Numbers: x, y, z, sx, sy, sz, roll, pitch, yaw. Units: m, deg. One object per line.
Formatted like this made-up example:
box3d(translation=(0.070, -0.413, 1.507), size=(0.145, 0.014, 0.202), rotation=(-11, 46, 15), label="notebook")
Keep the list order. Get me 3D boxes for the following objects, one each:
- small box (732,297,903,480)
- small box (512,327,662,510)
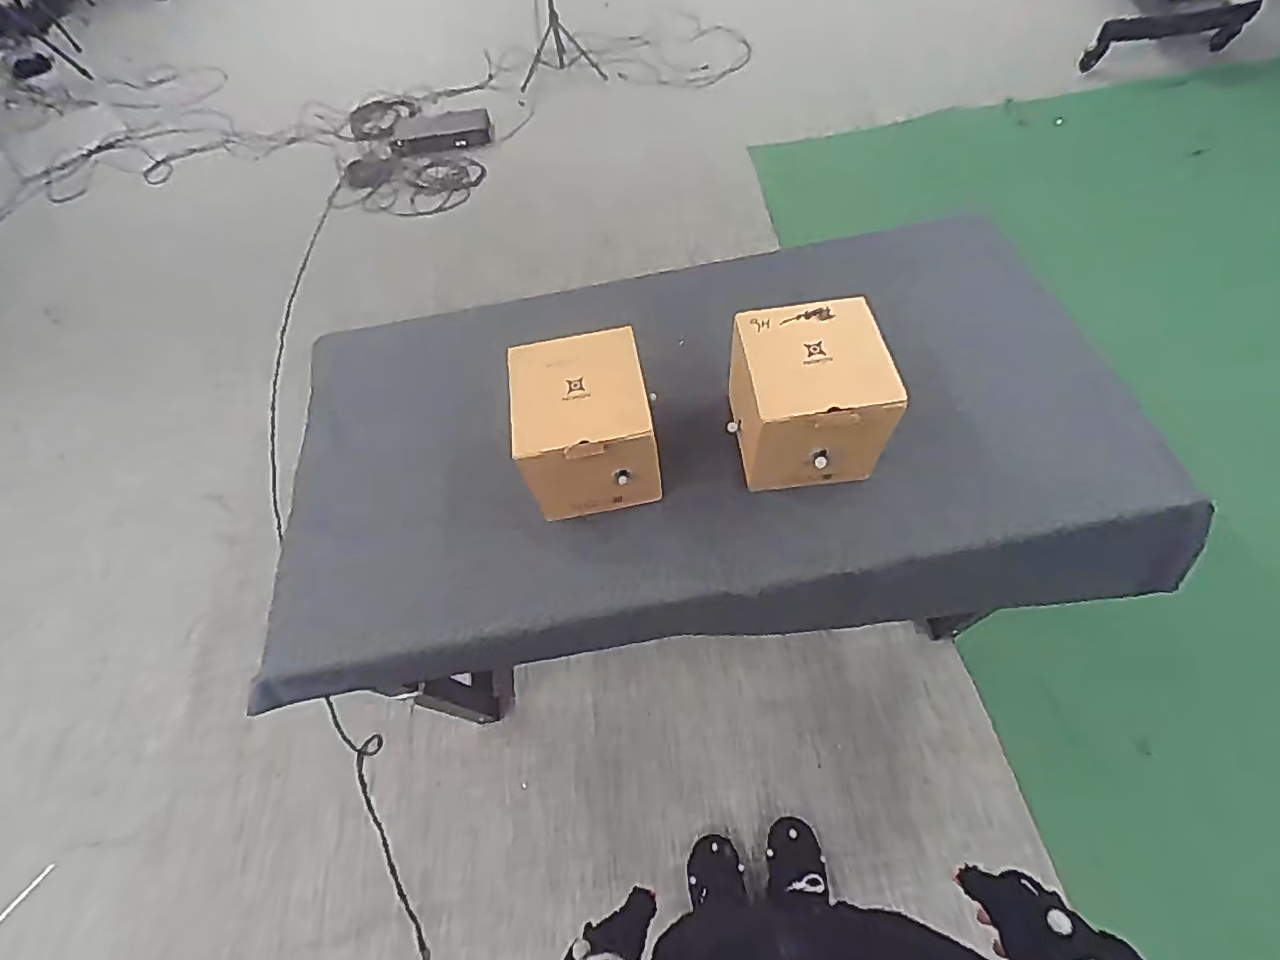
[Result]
box3d(translation=(0.219, -0.111, 0.722), size=(0.168, 0.176, 0.179), rotation=(-7, 60, 2), label="small box")
box3d(translation=(-0.067, -0.073, 0.734), size=(0.168, 0.176, 0.179), rotation=(-11, 58, -1), label="small box")
